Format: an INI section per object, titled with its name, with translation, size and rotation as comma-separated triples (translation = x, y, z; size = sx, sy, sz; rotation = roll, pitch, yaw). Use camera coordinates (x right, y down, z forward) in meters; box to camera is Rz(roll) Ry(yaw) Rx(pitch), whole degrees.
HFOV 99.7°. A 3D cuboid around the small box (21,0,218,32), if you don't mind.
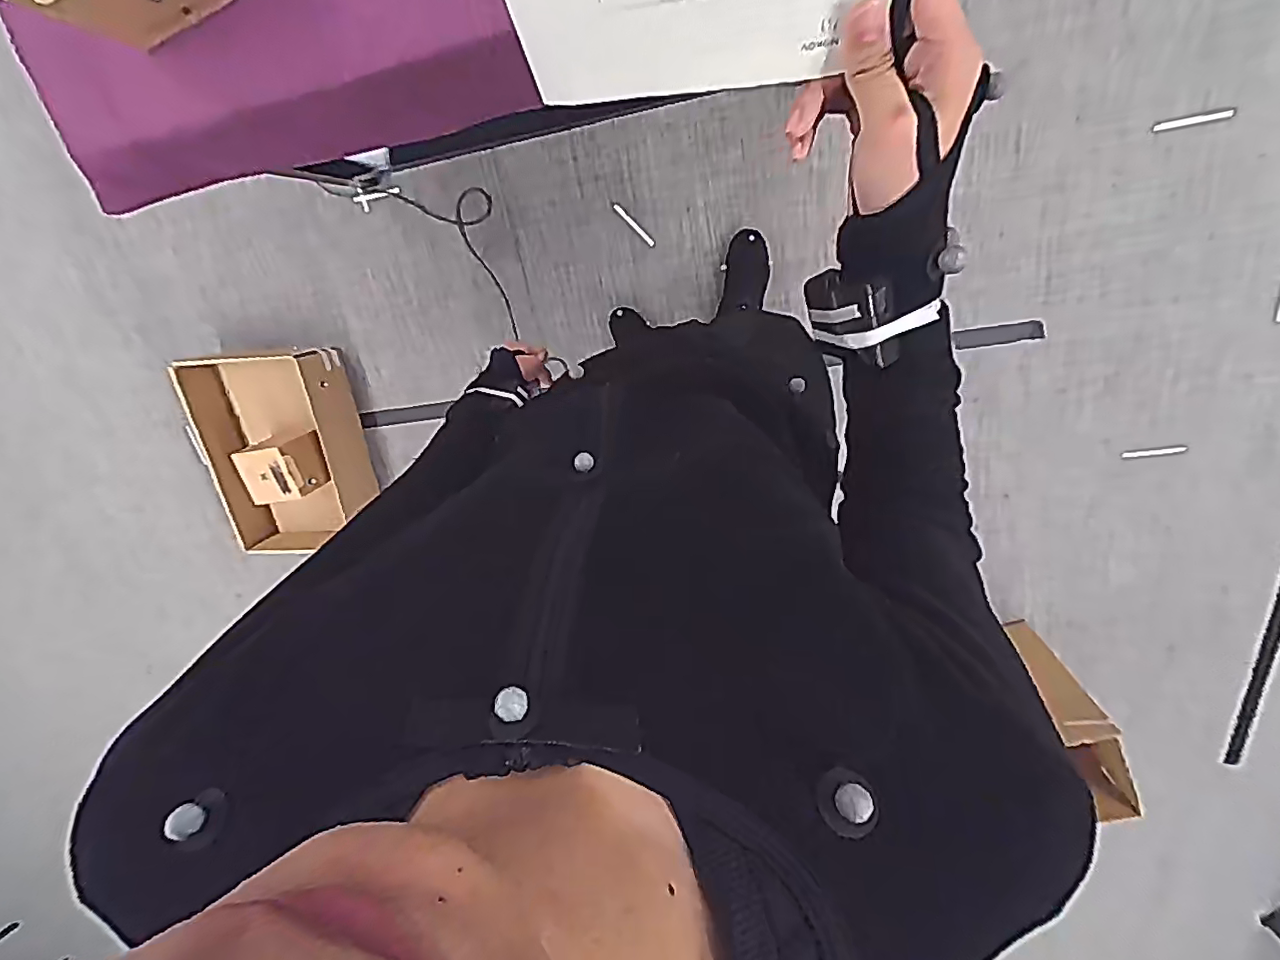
[small box]
translation = -0.620, -0.646, 0.603
size = 0.168, 0.176, 0.179
rotation = -15, 110, 12
